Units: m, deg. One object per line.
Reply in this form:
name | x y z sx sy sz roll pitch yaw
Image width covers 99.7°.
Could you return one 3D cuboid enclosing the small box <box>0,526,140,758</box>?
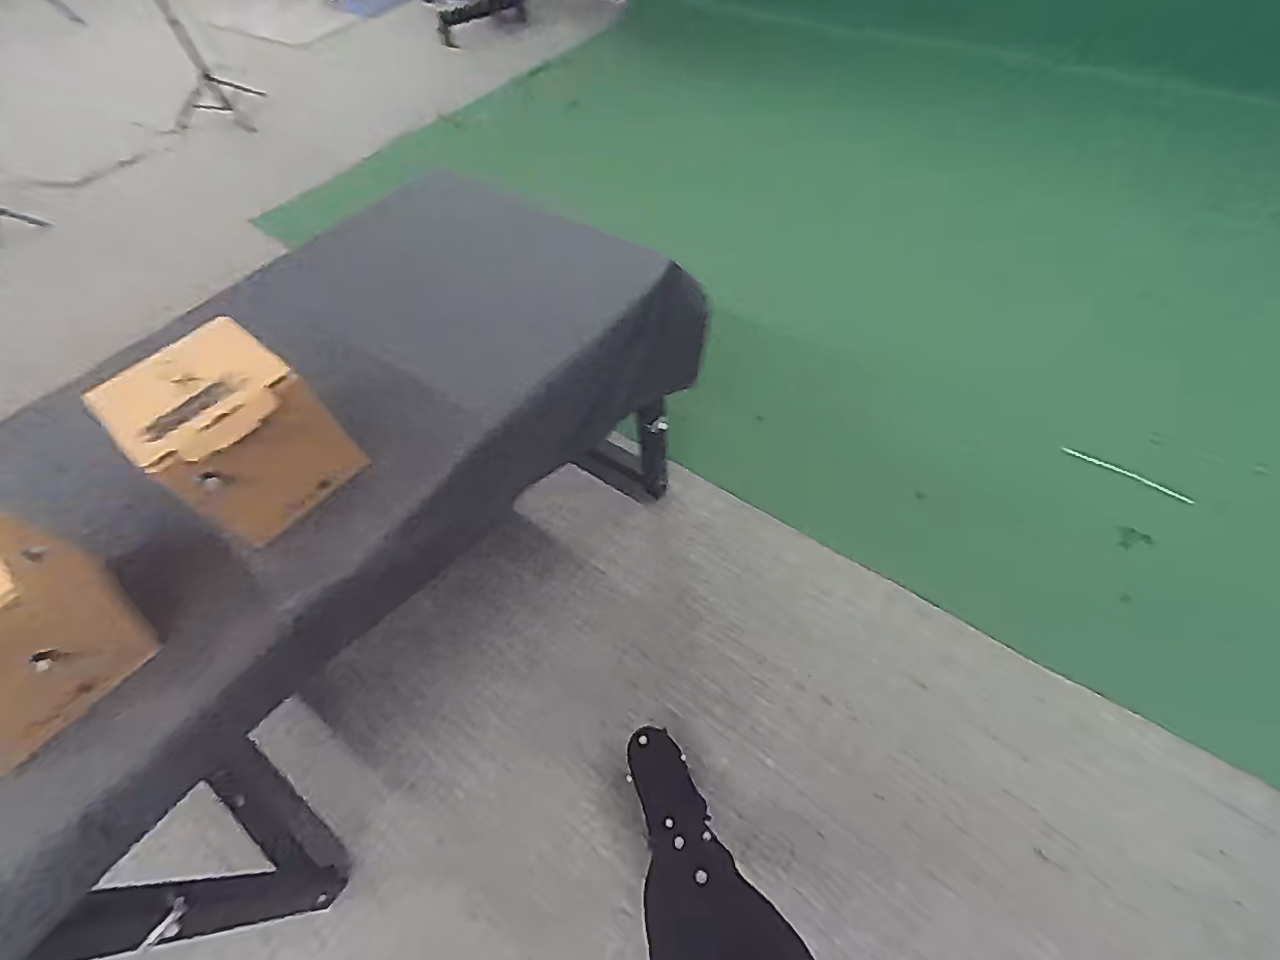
small box | -0.649 0.152 0.518 0.179 0.176 0.168 32 62 24
